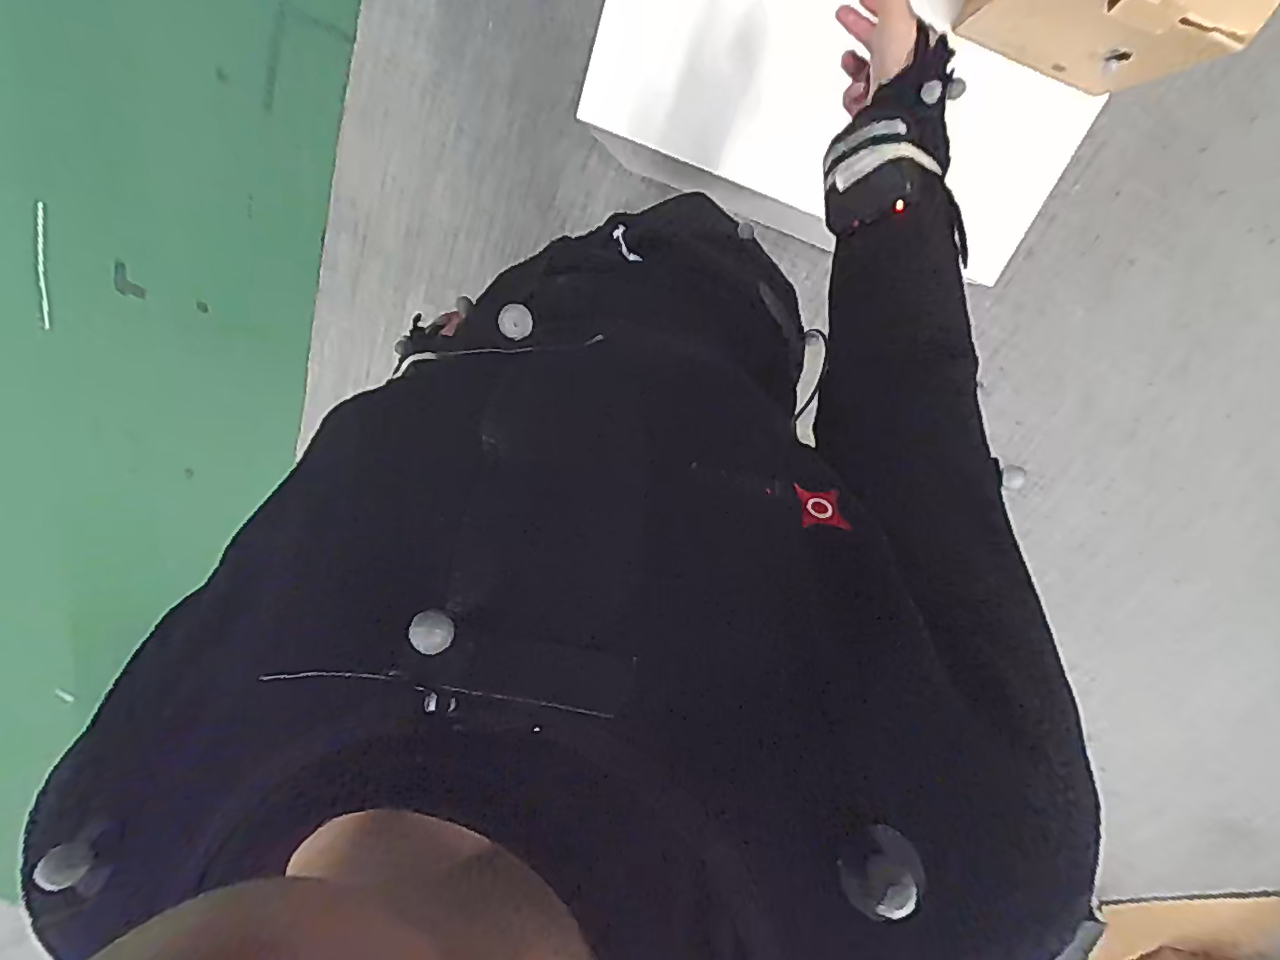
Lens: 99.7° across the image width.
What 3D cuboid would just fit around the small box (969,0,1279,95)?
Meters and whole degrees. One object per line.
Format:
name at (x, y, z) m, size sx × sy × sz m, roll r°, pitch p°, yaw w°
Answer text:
small box at (0.403, -0.443, 0.428) m, size 0.168 × 0.176 × 0.179 m, roll 19°, pitch 114°, yaw -5°
